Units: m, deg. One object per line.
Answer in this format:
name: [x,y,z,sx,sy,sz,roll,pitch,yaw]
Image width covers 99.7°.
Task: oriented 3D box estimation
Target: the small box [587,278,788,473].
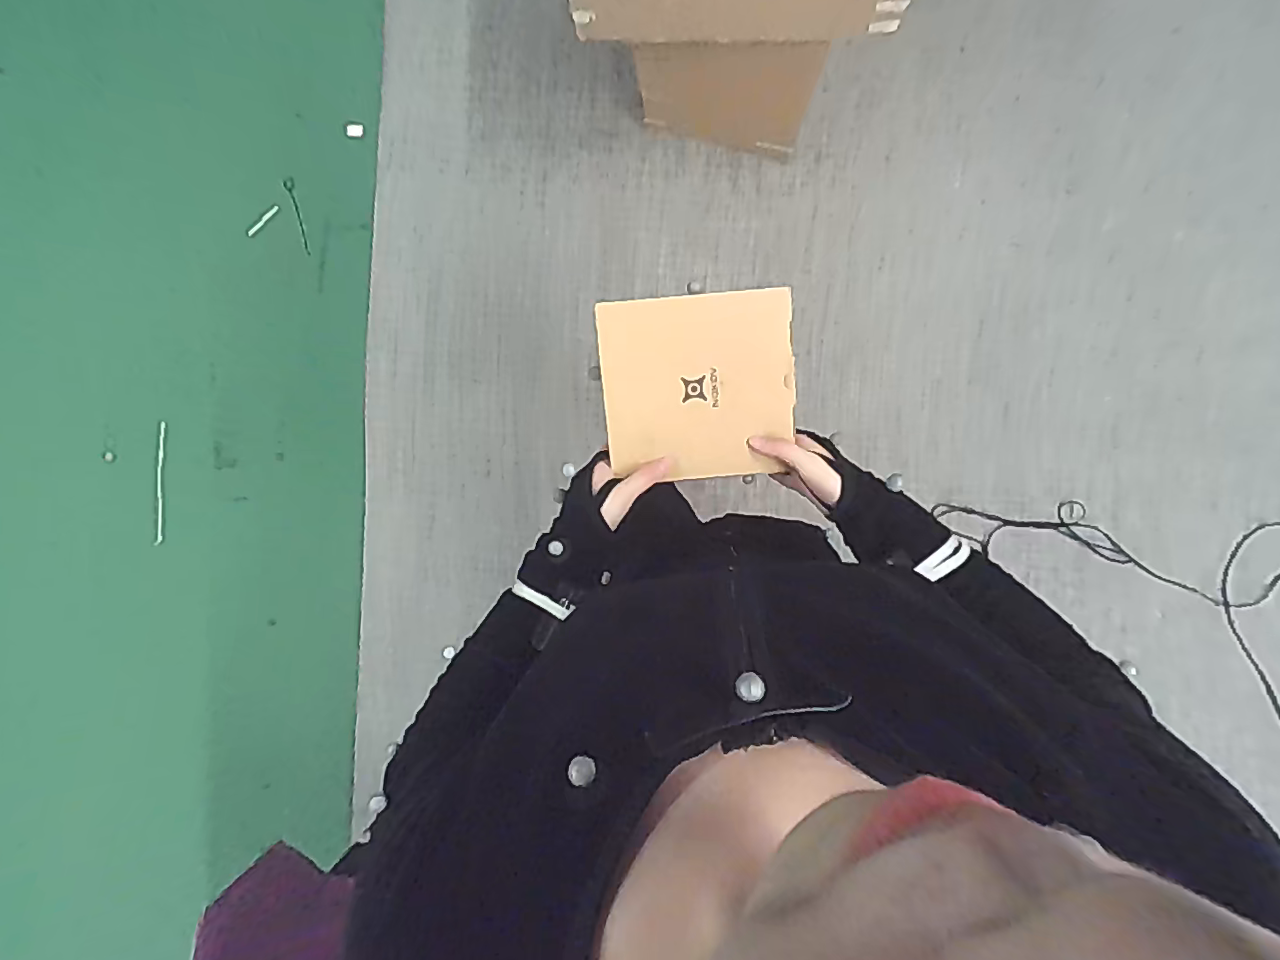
small box: [0.045,-0.105,0.567,0.179,0.176,0.168,-5,101,0]
